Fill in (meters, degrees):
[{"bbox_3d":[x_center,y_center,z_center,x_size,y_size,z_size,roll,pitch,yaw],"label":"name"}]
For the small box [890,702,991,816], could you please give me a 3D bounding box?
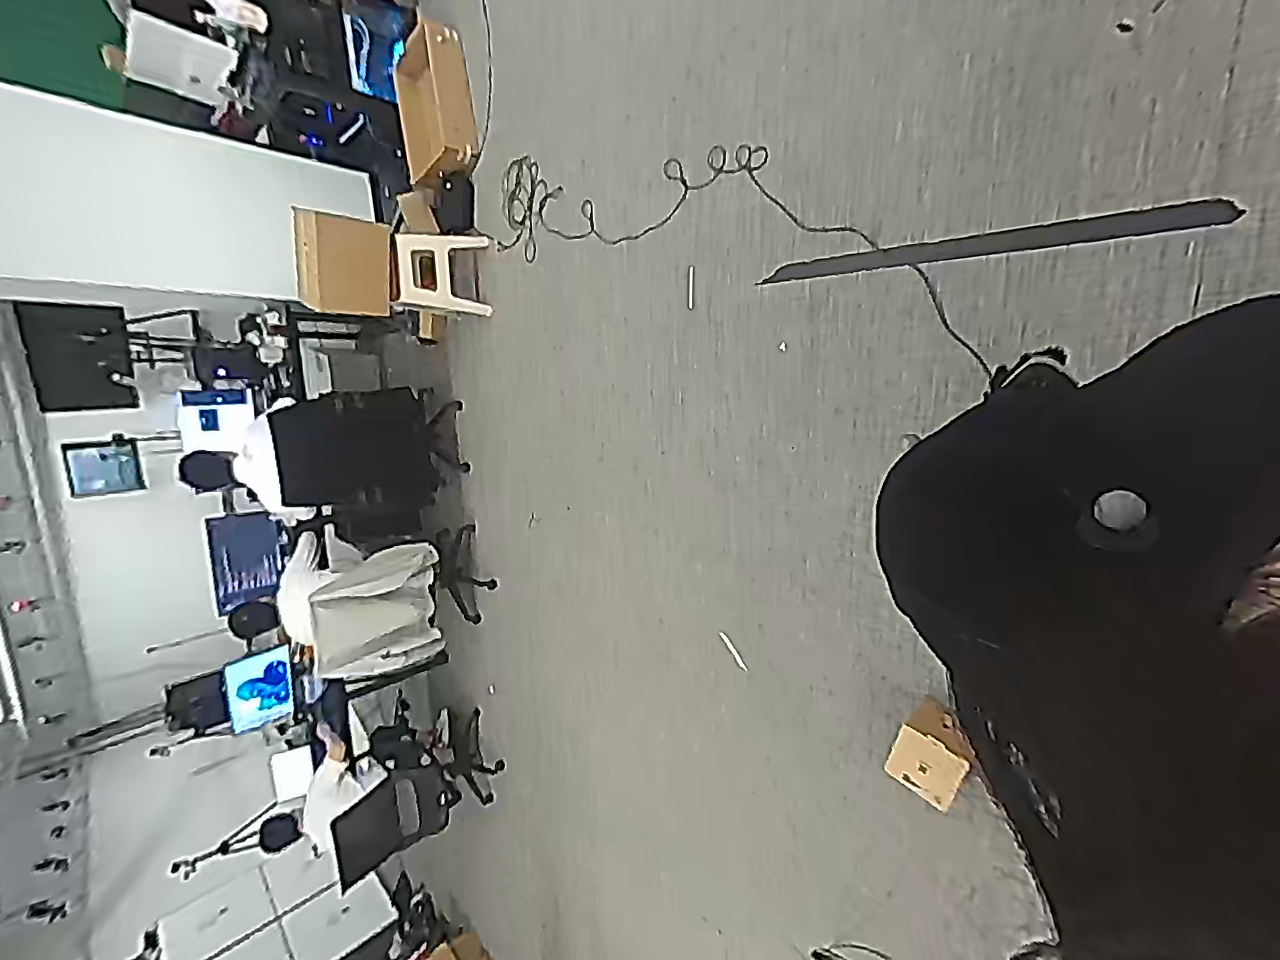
[{"bbox_3d":[0.803,0.730,1.437,0.168,0.176,0.179,28,116,40],"label":"small box"}]
